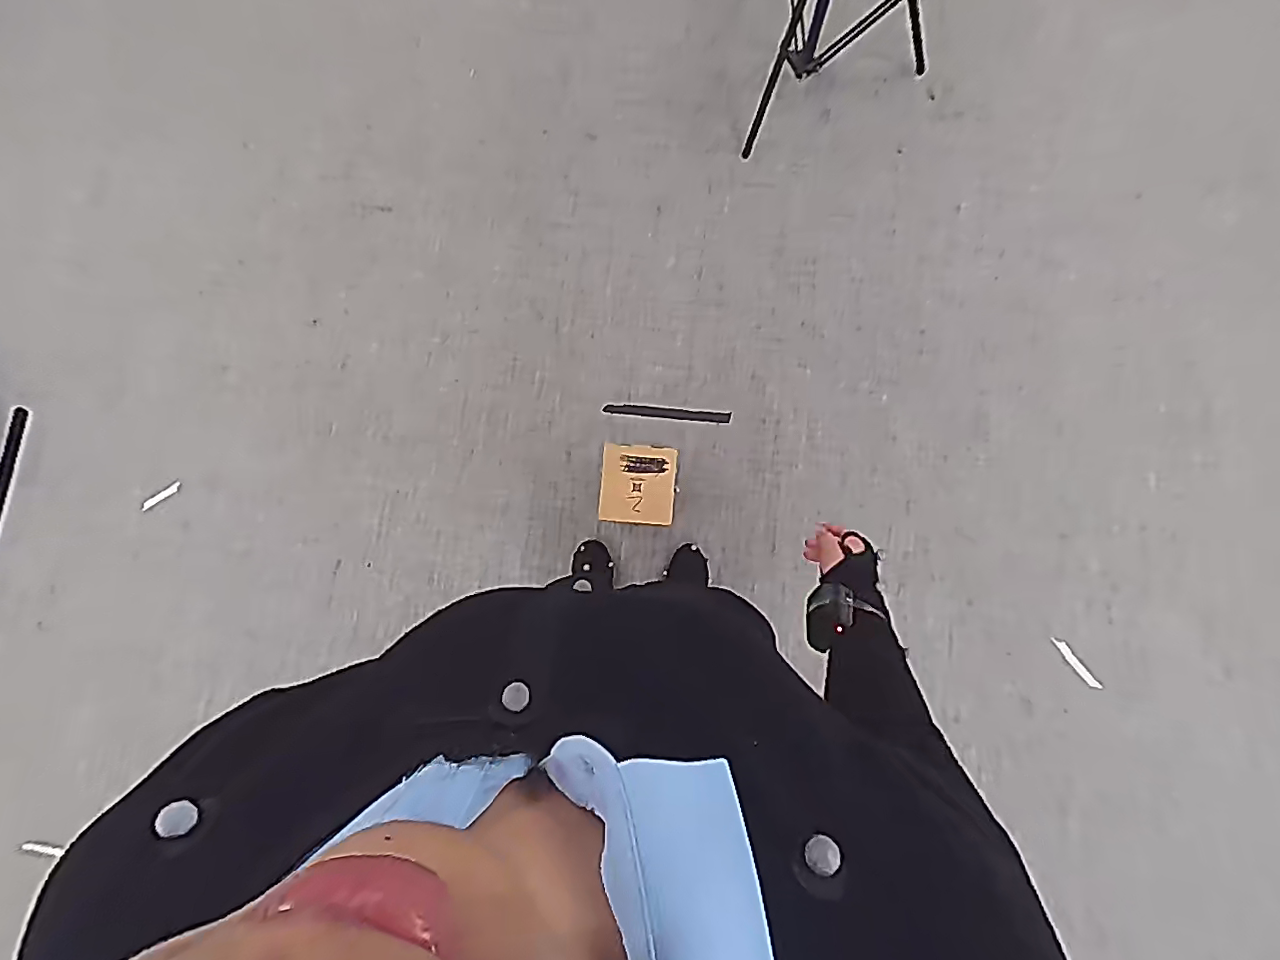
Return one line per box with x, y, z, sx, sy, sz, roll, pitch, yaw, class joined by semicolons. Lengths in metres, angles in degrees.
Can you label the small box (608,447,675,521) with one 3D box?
0.008;0.015;1.440;0.168;0.176;0.179;1;84;4;small box
